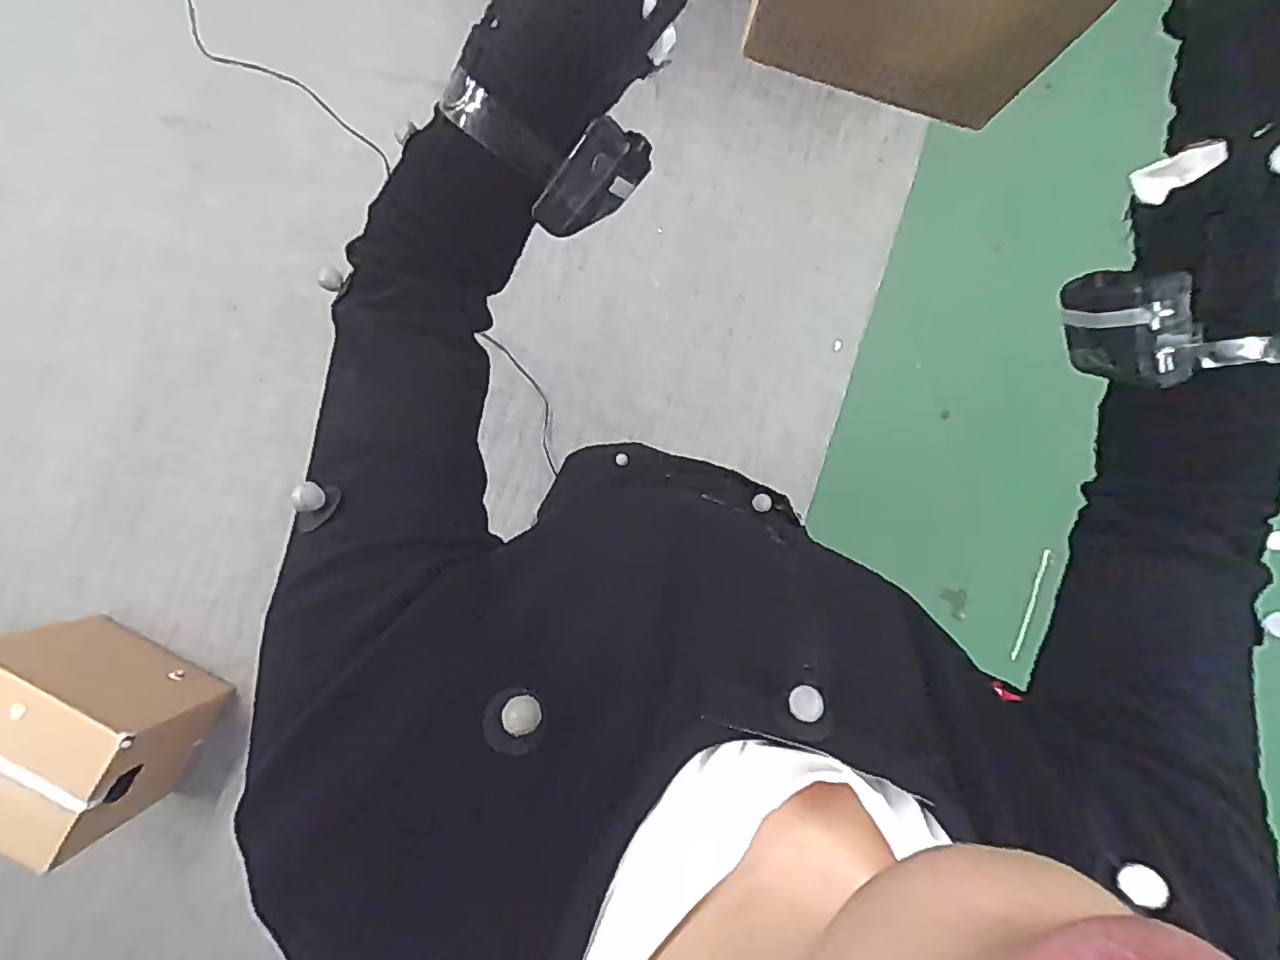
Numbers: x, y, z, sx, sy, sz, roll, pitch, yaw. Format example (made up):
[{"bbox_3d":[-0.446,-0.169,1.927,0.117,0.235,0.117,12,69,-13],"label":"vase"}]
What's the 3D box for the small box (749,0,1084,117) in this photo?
[{"bbox_3d":[0.175,-0.346,0.296,0.179,0.176,0.168,14,87,-5],"label":"small box"}]
